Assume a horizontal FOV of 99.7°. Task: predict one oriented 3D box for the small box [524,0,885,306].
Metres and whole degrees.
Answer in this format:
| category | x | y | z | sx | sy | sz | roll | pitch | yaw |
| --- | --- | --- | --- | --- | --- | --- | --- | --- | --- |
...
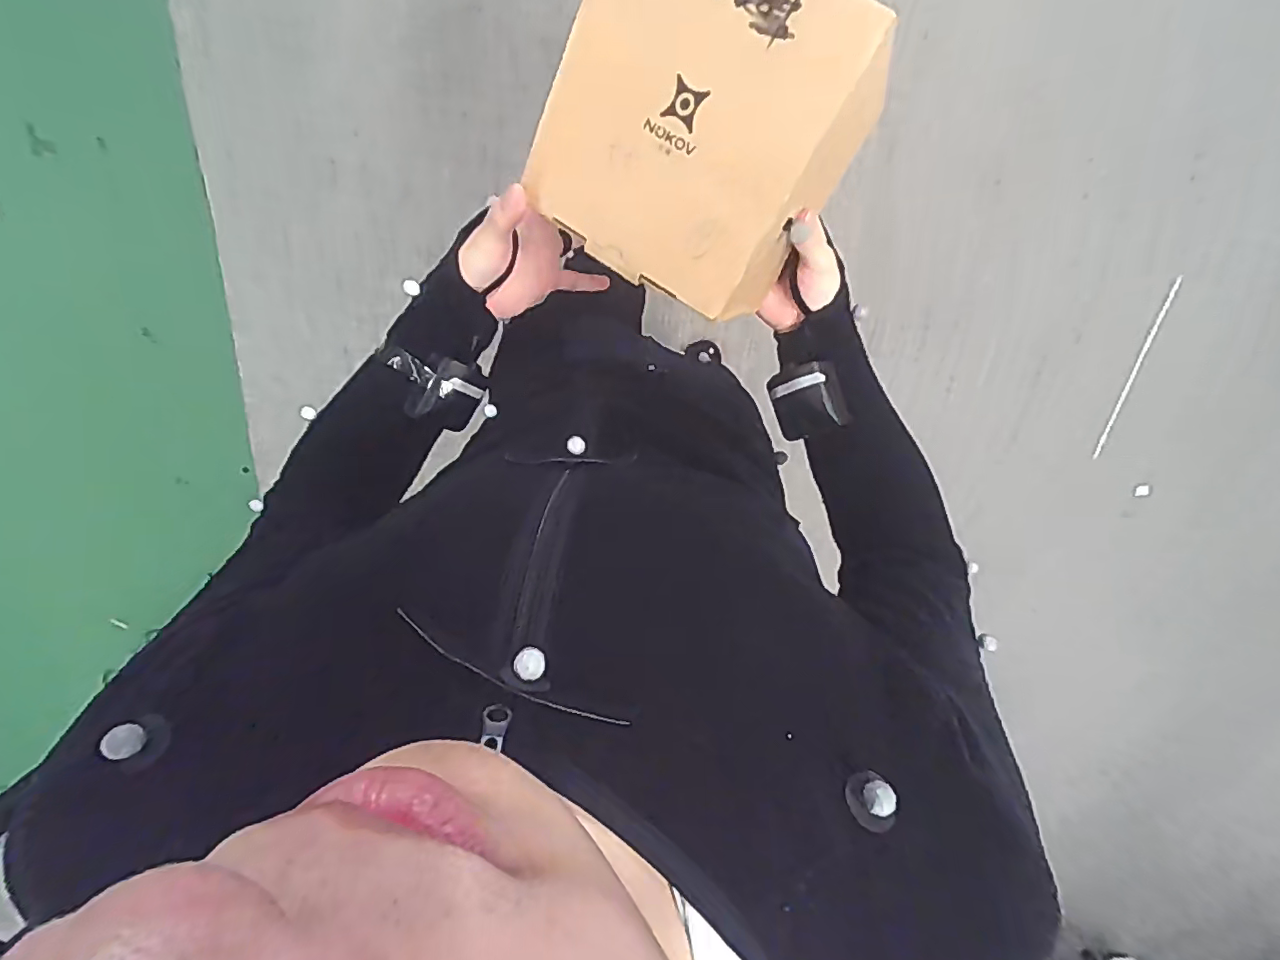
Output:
| category | x | y | z | sx | sy | sz | roll | pitch | yaw |
| --- | --- | --- | --- | --- | --- | --- | --- | --- | --- |
| small box | 0.051 | -0.248 | 0.390 | 0.168 | 0.176 | 0.179 | 33 | 118 | 7 |
